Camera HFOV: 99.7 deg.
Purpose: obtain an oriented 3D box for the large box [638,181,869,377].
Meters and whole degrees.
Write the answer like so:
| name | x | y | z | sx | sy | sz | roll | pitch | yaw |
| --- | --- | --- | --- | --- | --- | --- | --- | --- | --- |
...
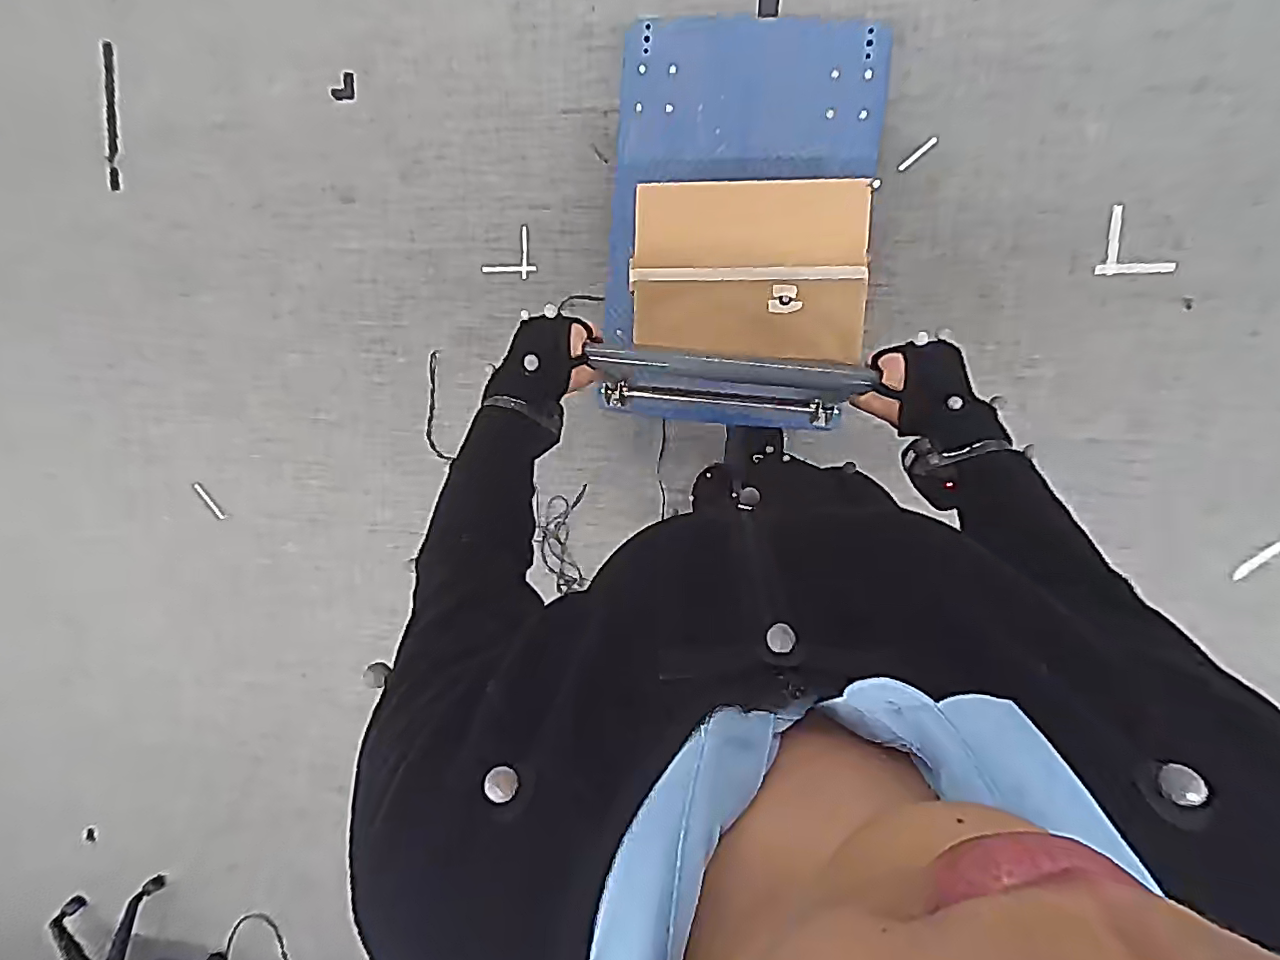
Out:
| name | x | y | z | sx | sy | sz | roll | pitch | yaw |
| --- | --- | --- | --- | --- | --- | --- | --- | --- | --- |
| large box | 0.208 | -0.381 | 1.109 | 0.408 | 0.320 | 0.320 | 2 | 97 | 5 |
